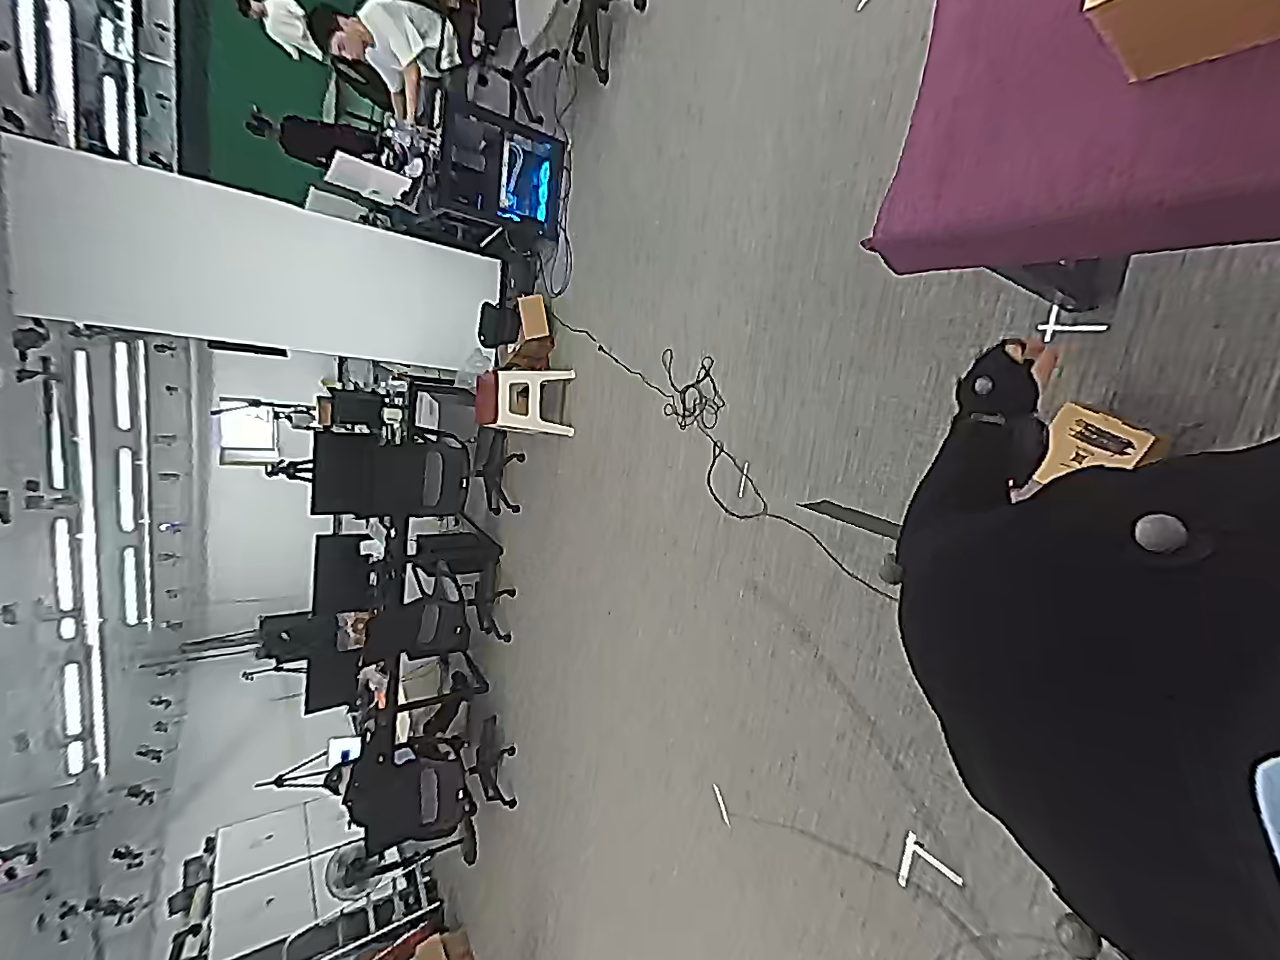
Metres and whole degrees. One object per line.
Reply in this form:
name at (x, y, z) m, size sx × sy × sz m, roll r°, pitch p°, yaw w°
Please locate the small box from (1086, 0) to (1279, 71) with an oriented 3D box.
small box at (0.556, -0.522, 0.491) m, size 0.179 × 0.176 × 0.168 m, roll 17°, pitch 104°, yaw 52°
